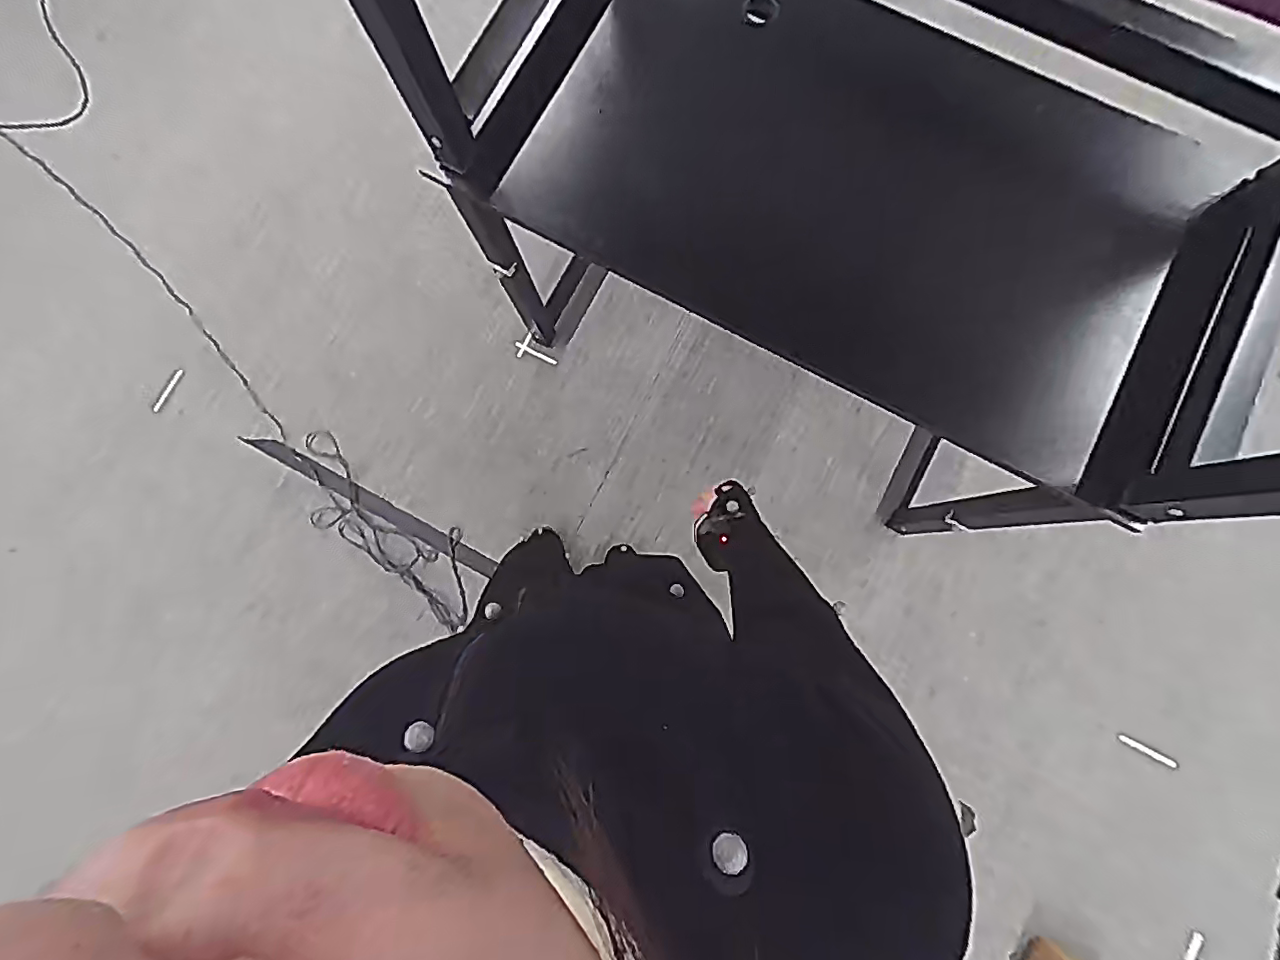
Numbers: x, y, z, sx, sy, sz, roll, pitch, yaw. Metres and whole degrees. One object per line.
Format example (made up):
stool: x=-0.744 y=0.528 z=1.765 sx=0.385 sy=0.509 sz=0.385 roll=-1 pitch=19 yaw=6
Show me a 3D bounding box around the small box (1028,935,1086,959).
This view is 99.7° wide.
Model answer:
small box: x=1.027 y=1.239 z=1.263 sx=0.168 sy=0.176 sz=0.179 roll=30 pitch=86 yaw=4
